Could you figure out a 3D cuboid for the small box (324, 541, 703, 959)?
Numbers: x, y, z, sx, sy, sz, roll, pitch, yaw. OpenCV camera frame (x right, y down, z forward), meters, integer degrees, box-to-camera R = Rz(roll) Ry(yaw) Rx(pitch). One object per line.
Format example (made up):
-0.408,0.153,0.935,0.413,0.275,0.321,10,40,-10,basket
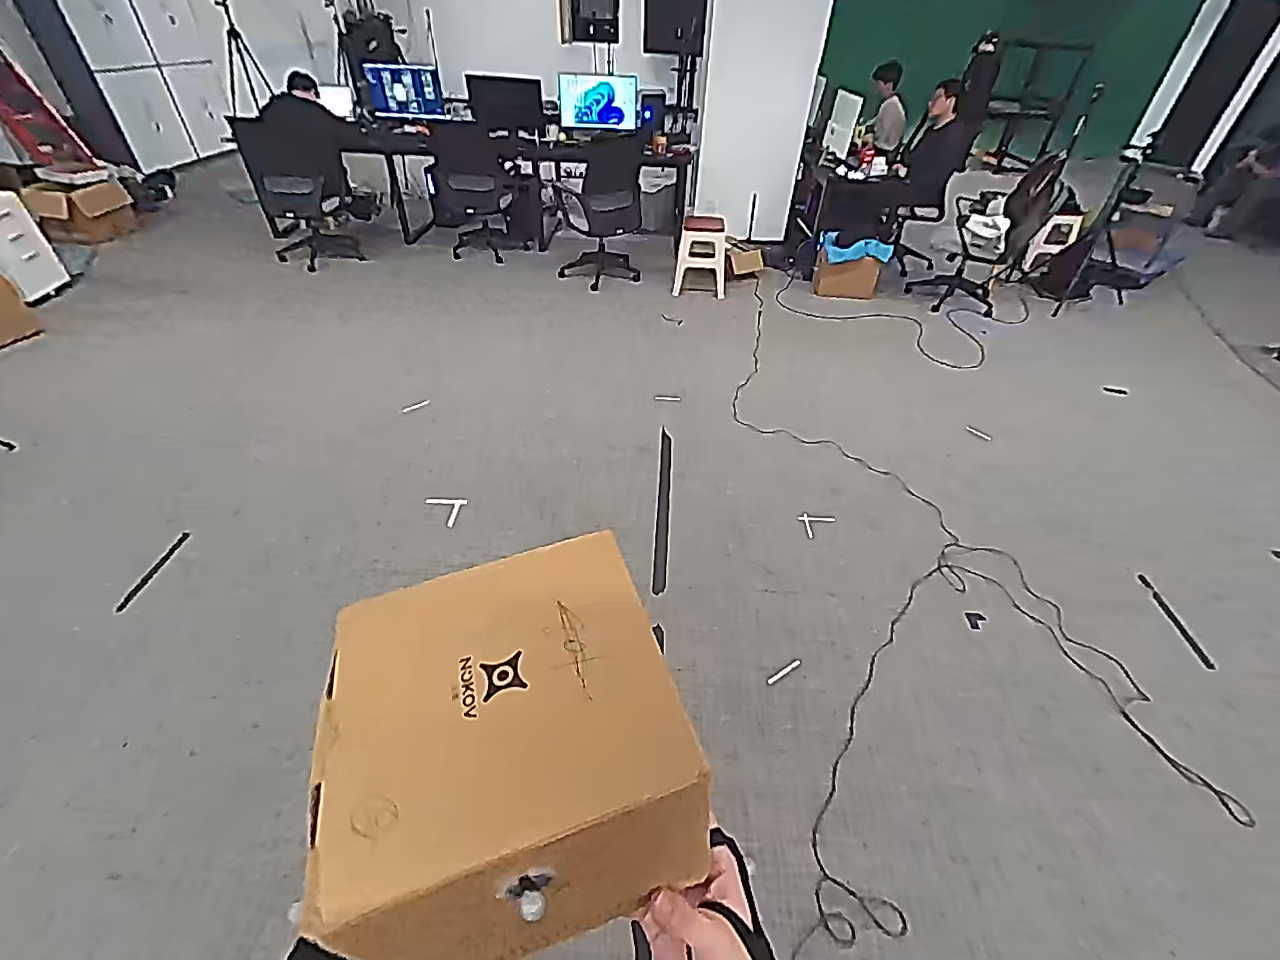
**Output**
-0.069,0.174,0.348,0.179,0.176,0.168,-16,41,-14,small box
